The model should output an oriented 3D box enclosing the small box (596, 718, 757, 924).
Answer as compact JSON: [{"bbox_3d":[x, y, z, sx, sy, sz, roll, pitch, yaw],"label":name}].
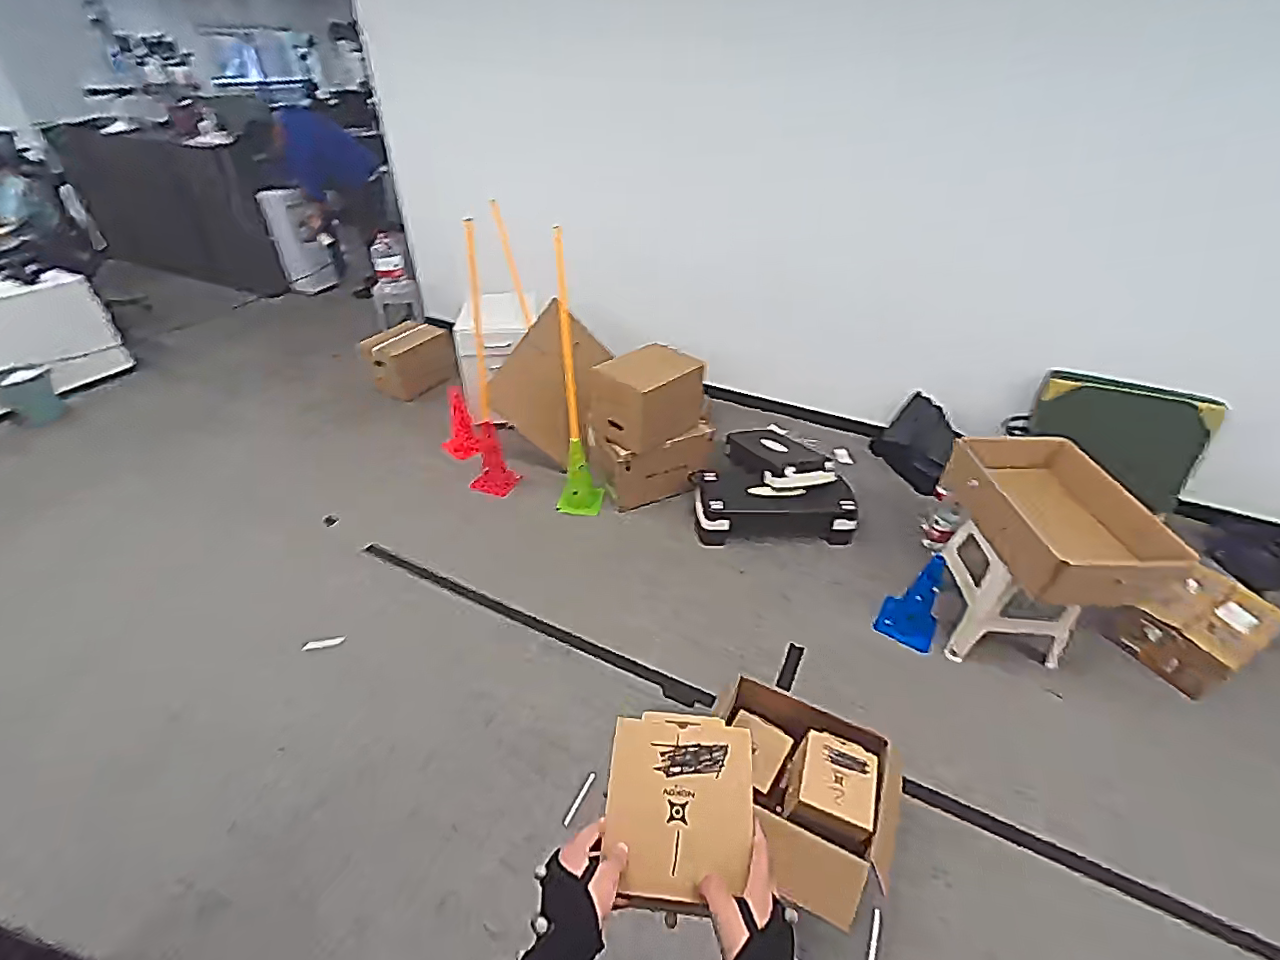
[{"bbox_3d":[0.049,0.414,0.658,0.168,0.176,0.179,2,48,7],"label":"small box"}]
